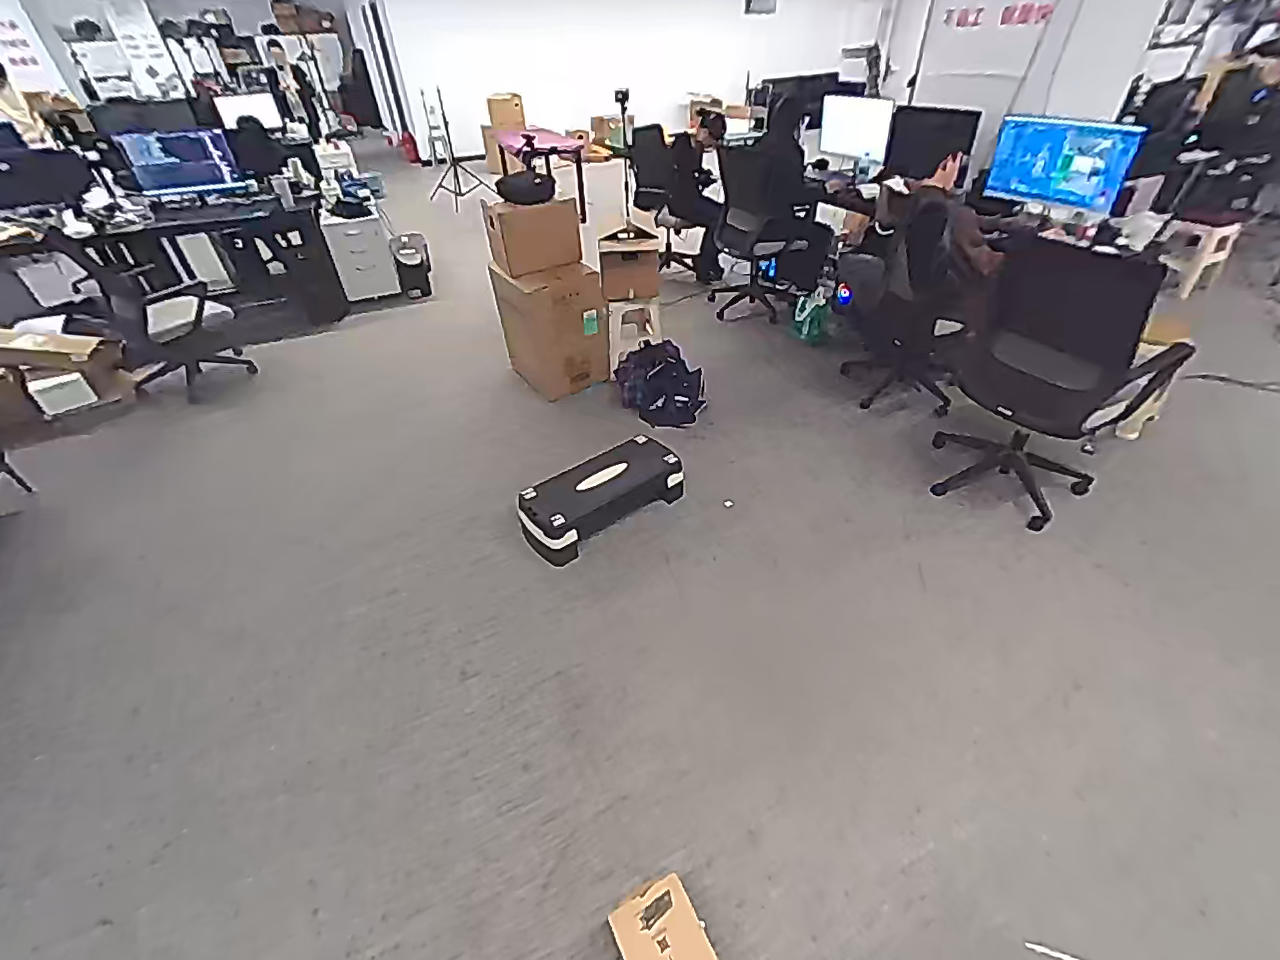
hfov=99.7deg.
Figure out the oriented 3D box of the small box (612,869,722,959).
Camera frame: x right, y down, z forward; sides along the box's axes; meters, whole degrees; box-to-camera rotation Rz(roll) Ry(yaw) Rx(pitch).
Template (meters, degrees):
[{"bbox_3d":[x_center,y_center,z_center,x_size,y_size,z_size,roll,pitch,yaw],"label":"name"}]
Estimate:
[{"bbox_3d":[0.055,0.970,1.129,0.168,0.176,0.179,-21,42,-18],"label":"small box"}]
